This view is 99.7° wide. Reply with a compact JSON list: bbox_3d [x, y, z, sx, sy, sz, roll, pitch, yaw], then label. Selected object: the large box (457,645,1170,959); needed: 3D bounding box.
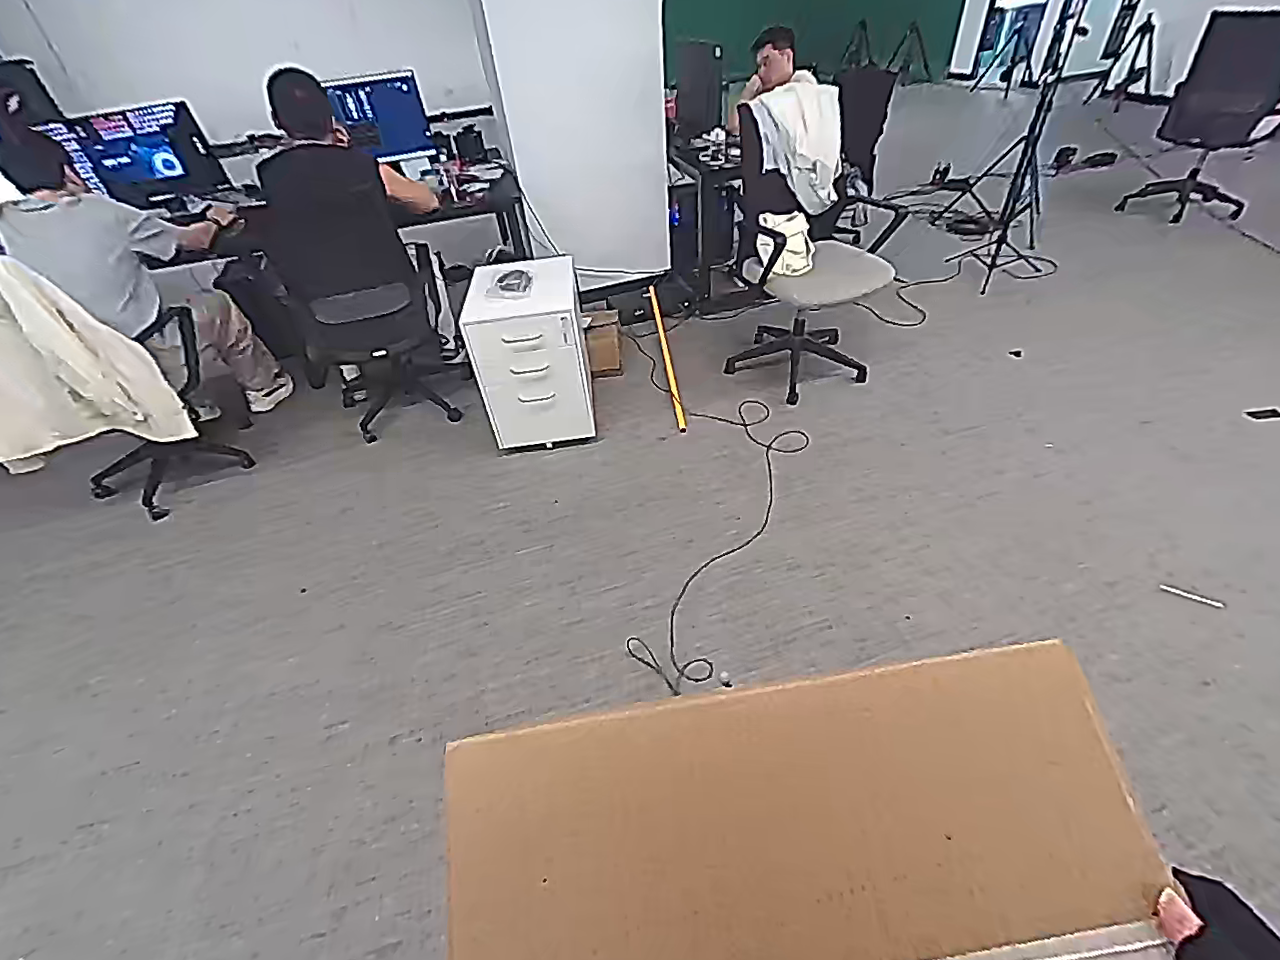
[{"bbox_3d":[0.107,0.337,0.444,0.408,0.320,0.320,-10,69,-2],"label":"large box"}]
